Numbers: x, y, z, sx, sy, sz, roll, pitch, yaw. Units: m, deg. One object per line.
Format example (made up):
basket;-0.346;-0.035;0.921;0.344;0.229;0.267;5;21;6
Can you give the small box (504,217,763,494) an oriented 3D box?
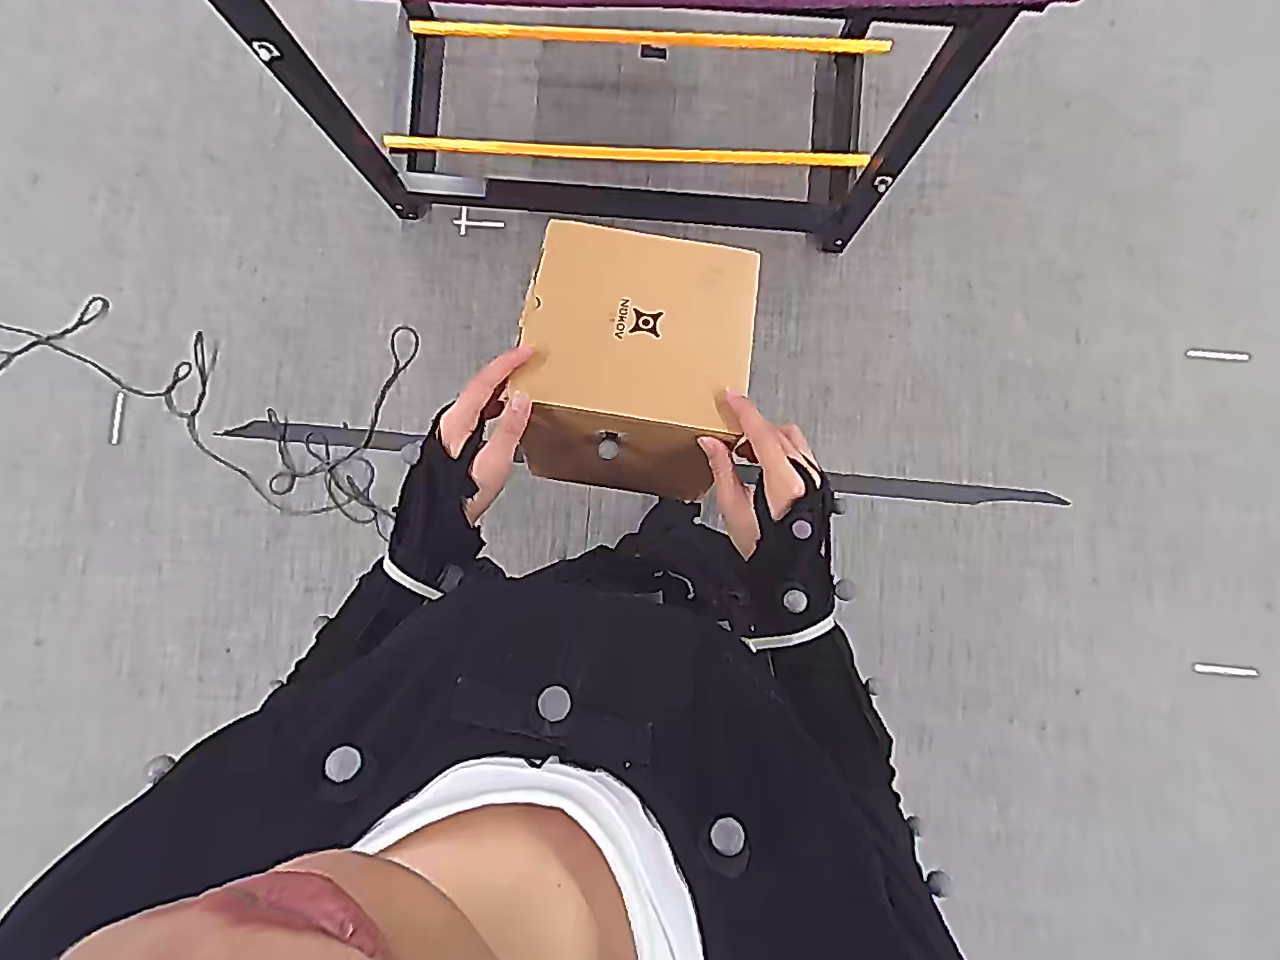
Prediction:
small box;-0.004;-0.094;0.480;0.179;0.176;0.168;9;71;0
